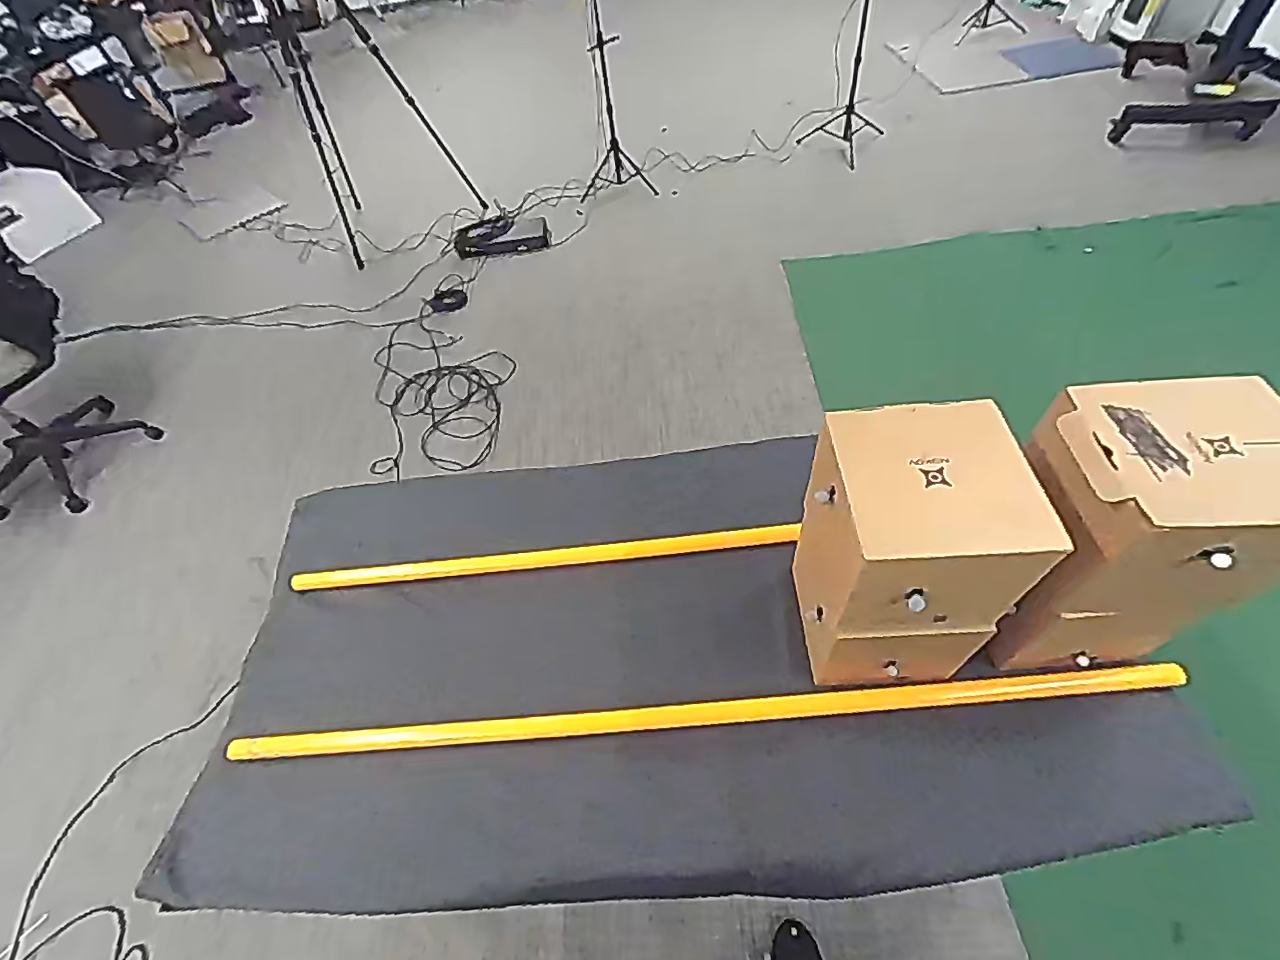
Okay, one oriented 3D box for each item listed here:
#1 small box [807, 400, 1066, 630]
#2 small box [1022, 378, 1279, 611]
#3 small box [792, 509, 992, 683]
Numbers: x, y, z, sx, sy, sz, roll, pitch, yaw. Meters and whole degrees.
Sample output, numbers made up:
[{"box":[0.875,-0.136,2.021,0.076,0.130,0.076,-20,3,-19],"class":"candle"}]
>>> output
[{"box":[0.274,0.045,0.553,0.168,0.176,0.179,-5,52,6],"class":"small box"},{"box":[0.502,0.021,0.533,0.179,0.176,0.168,-2,53,6],"class":"small box"},{"box":[0.295,0.147,0.679,0.168,0.176,0.179,-4,52,5],"class":"small box"}]
